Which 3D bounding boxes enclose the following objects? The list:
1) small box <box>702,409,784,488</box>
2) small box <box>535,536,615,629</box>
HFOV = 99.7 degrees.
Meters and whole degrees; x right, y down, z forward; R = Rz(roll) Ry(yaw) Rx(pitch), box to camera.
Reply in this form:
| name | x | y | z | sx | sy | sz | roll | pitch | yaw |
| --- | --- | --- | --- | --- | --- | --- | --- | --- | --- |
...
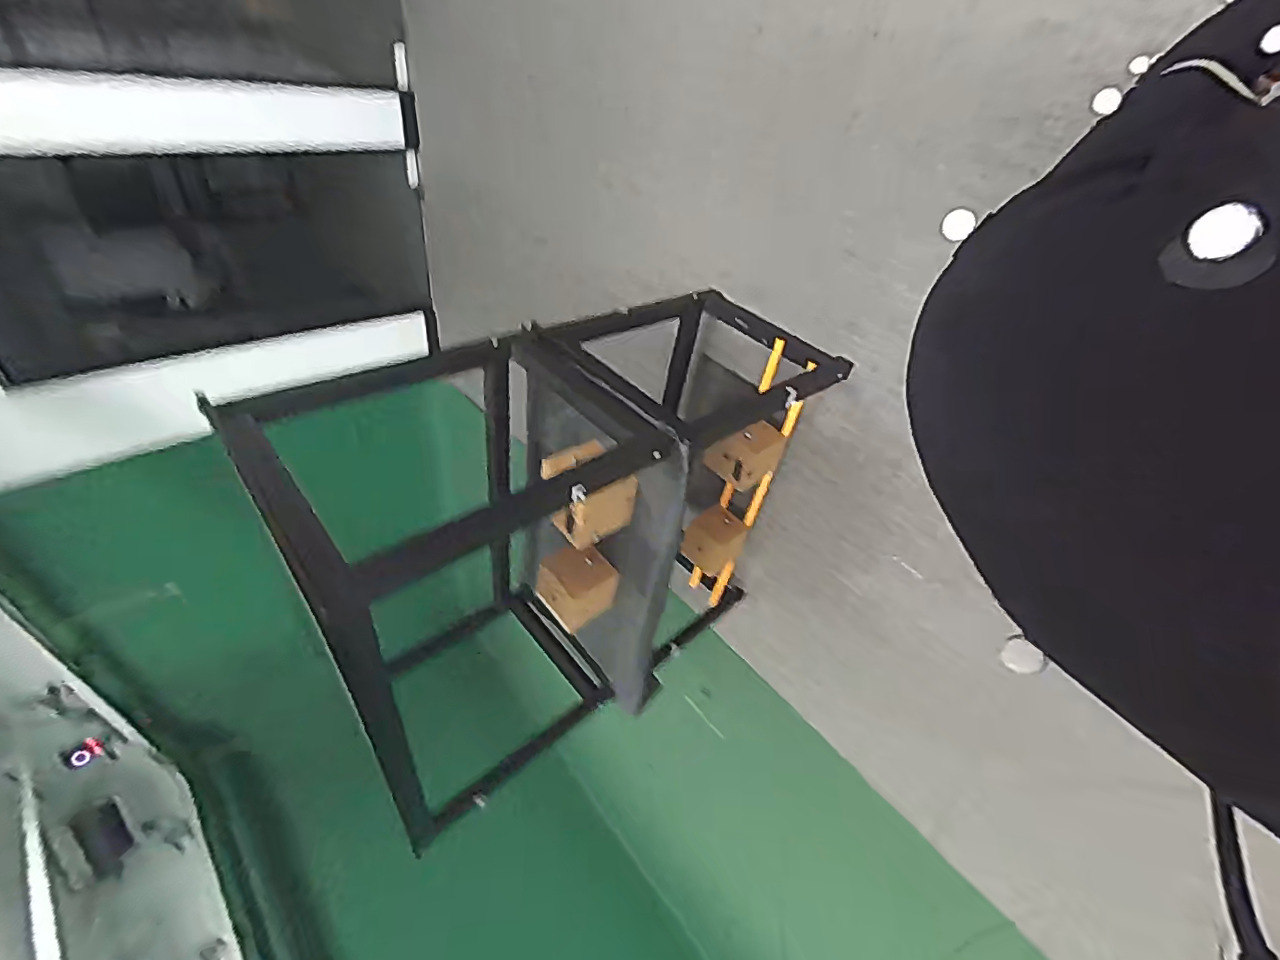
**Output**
| name | x | y | z | sx | sy | sz | roll | pitch | yaw |
| --- | --- | --- | --- | --- | --- | --- | --- | --- | --- |
| small box | 0.337 | -0.110 | 1.764 | 0.179 | 0.176 | 0.168 | 43 | 139 | 26 |
| small box | -0.193 | 0.301 | 1.611 | 0.168 | 0.176 | 0.179 | 43 | 139 | 26 |
